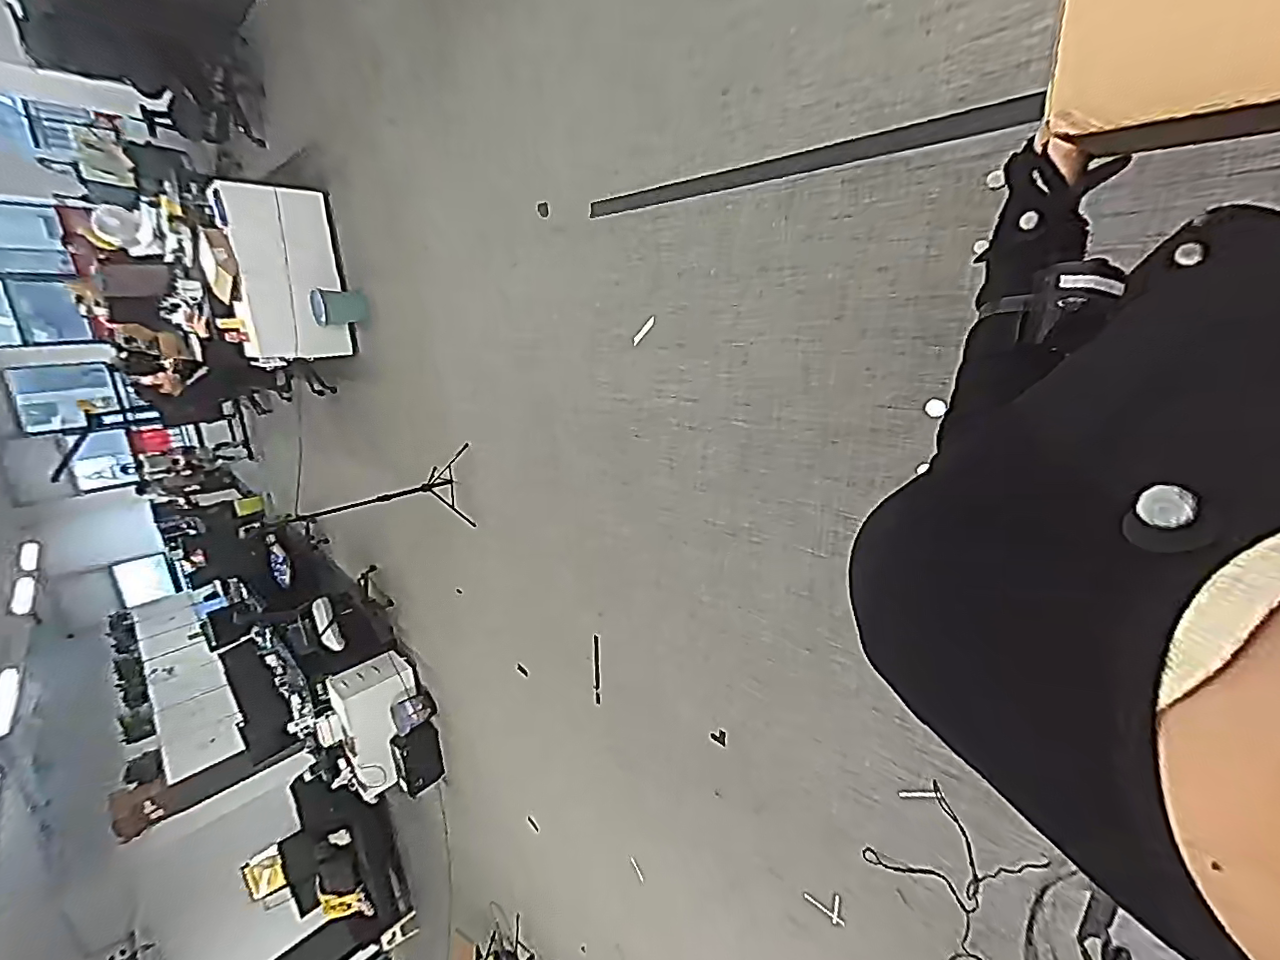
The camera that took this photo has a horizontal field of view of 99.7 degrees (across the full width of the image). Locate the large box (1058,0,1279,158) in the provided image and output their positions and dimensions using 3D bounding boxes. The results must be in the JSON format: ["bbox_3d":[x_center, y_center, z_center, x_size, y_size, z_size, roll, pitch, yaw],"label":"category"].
[{"bbox_3d":[0.412,-0.322,0.169,0.408,0.320,0.320,12,120,38],"label":"large box"}]
